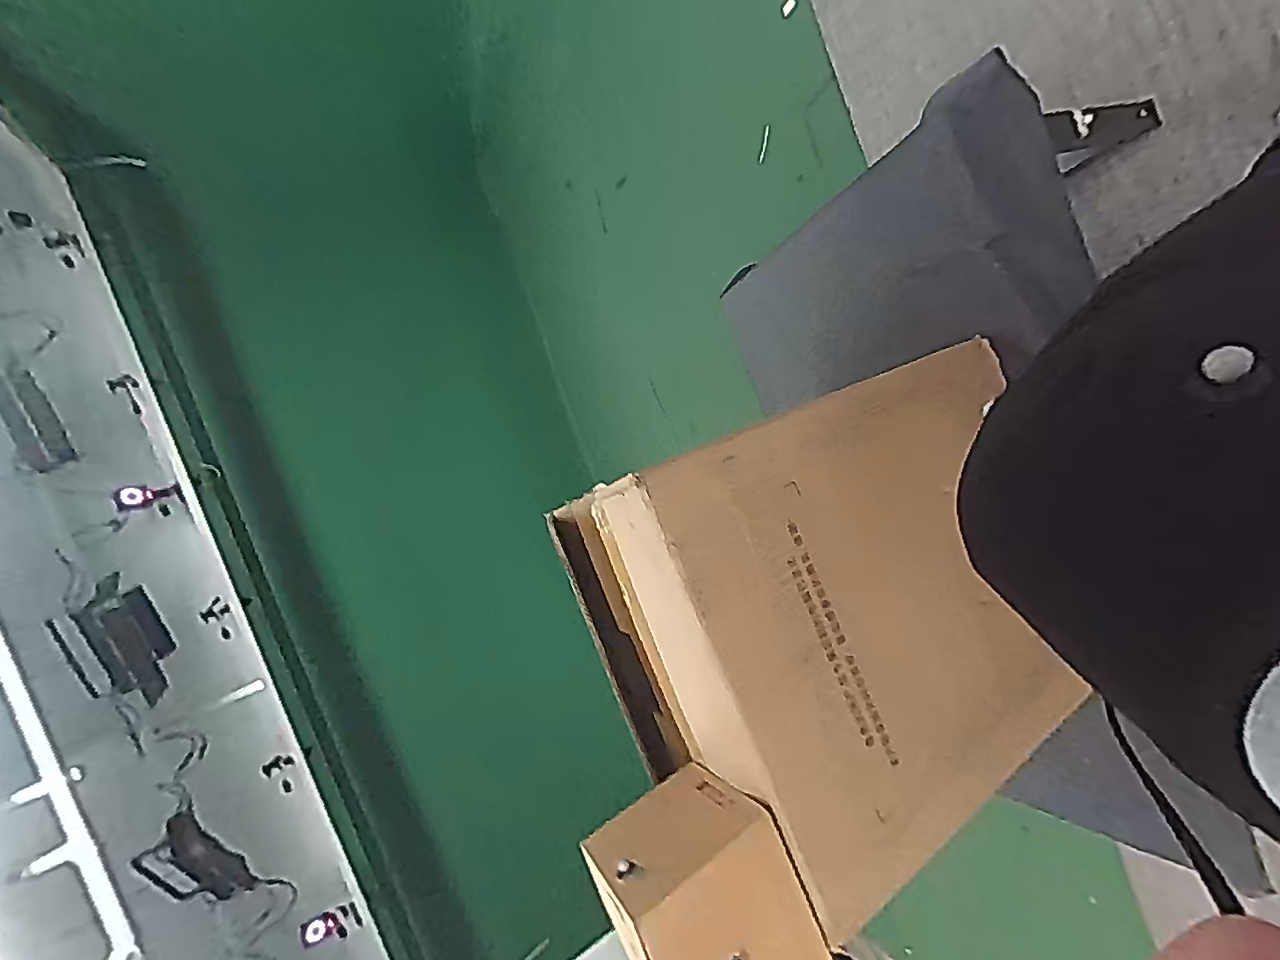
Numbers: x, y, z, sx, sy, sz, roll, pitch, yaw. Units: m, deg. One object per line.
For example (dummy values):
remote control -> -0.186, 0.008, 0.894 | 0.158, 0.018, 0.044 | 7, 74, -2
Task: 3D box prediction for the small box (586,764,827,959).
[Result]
small box -> 0.071, 0.461, 0.597 | 0.179, 0.176, 0.168 | 66, 154, -1
